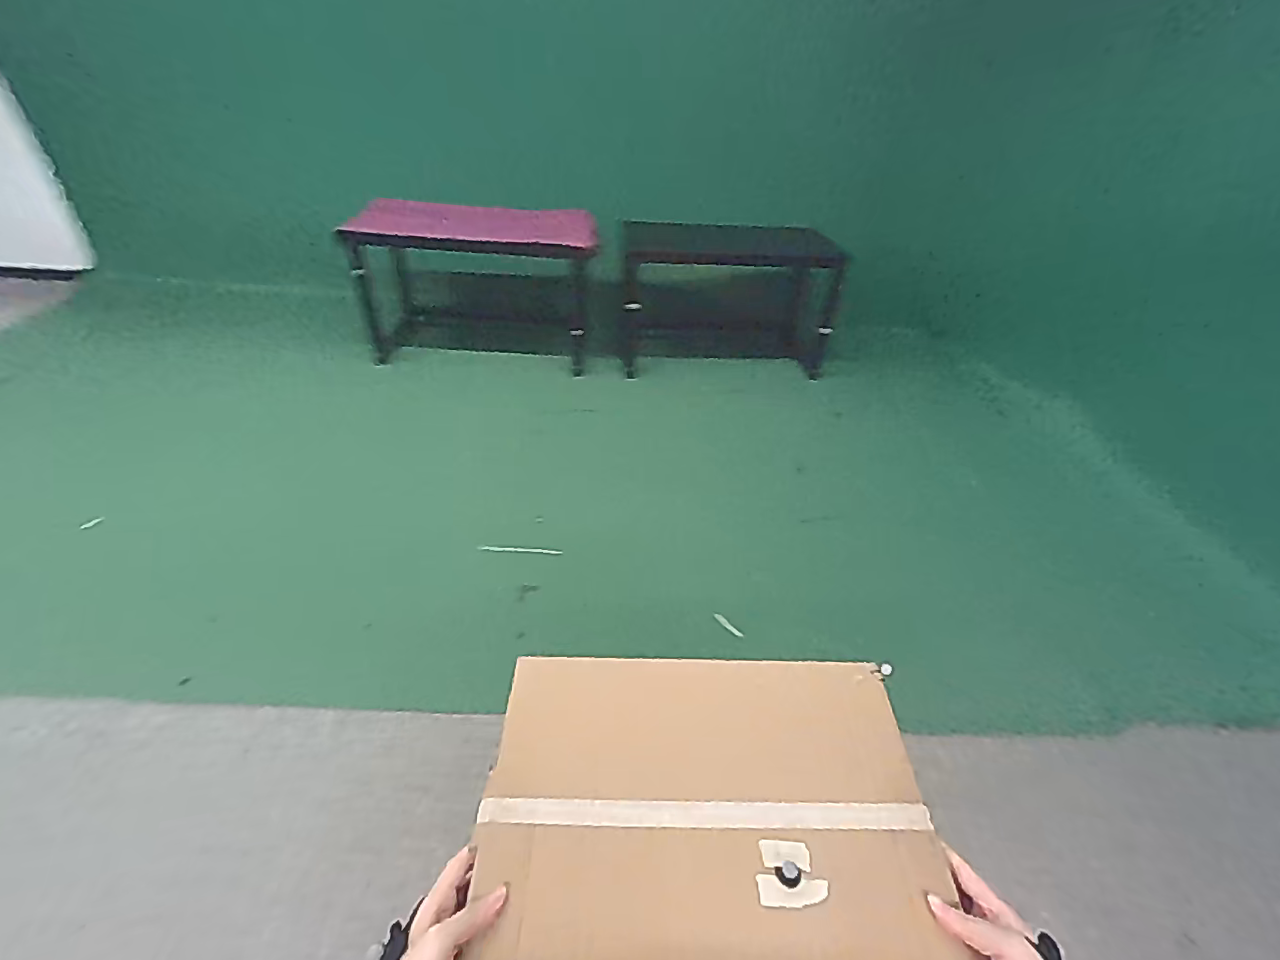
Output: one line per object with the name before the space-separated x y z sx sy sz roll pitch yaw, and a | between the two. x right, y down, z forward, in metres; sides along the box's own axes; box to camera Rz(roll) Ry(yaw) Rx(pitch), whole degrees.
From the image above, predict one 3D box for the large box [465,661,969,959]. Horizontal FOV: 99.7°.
large box | 0.056 0.420 0.598 0.408 0.320 0.320 1 41 -1
